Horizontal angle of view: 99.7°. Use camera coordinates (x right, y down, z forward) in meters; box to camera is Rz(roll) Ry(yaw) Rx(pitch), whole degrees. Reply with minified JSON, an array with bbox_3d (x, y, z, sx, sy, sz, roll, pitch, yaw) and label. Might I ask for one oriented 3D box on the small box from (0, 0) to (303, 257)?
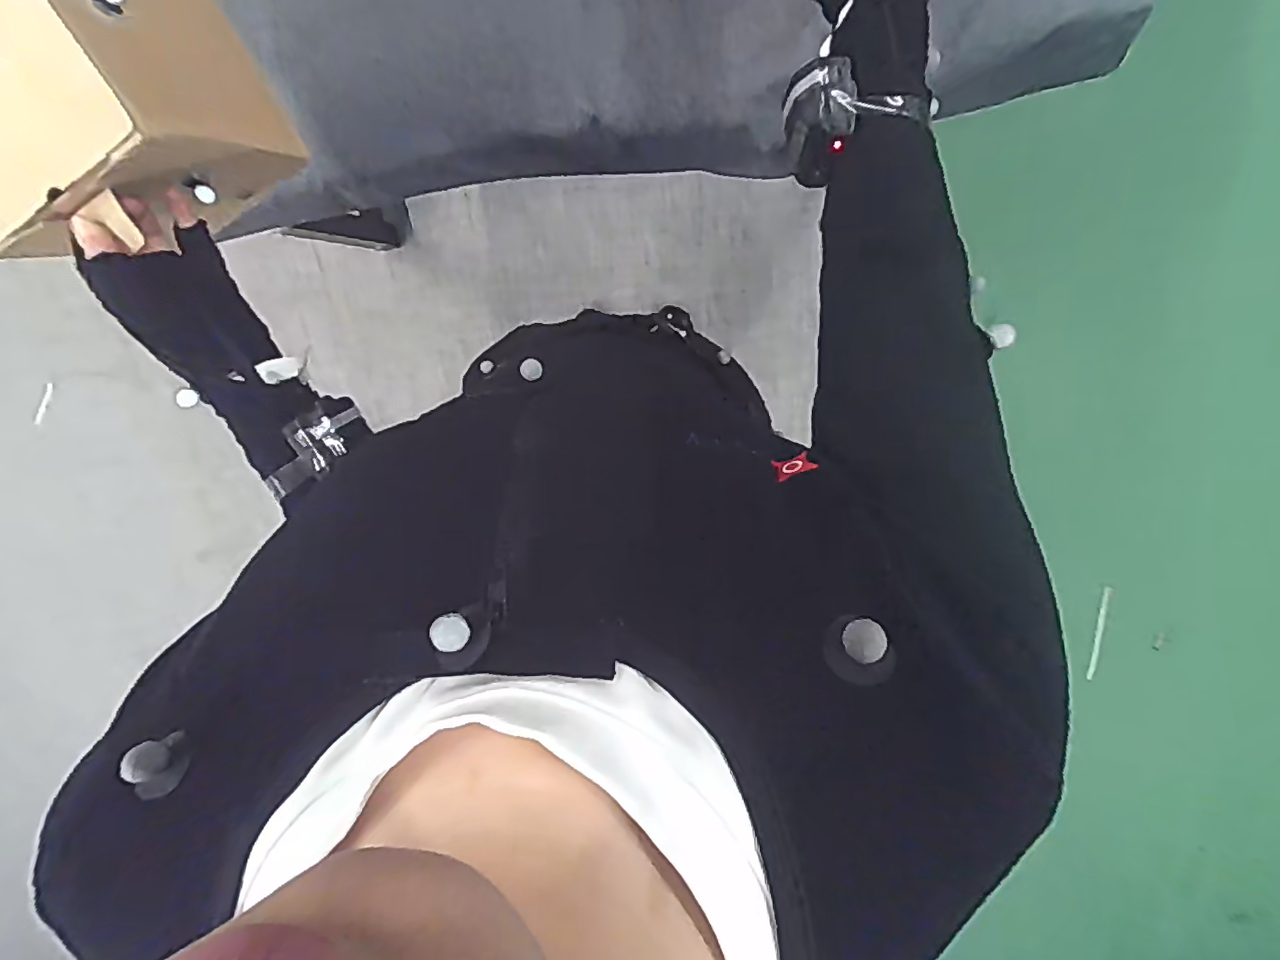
[{"bbox_3d":[-0.394,-0.282,0.381,0.168,0.176,0.179,-23,110,15],"label":"small box"}]
